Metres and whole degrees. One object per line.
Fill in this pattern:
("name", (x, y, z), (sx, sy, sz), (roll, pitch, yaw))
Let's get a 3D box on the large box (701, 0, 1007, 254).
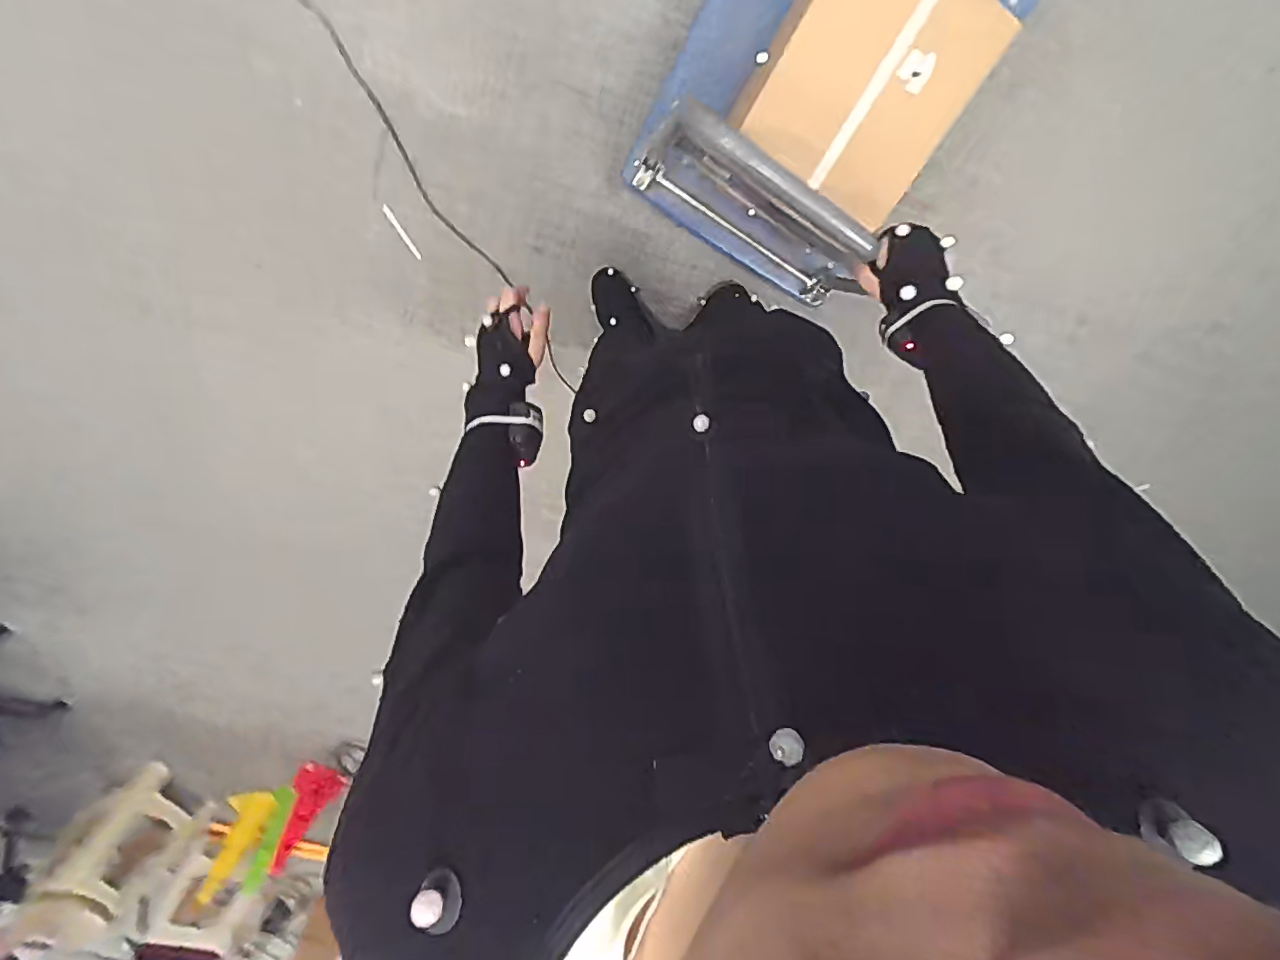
("large box", (0.362, -0.703, 1.041), (0.320, 0.320, 0.408), (27, 111, -15))
